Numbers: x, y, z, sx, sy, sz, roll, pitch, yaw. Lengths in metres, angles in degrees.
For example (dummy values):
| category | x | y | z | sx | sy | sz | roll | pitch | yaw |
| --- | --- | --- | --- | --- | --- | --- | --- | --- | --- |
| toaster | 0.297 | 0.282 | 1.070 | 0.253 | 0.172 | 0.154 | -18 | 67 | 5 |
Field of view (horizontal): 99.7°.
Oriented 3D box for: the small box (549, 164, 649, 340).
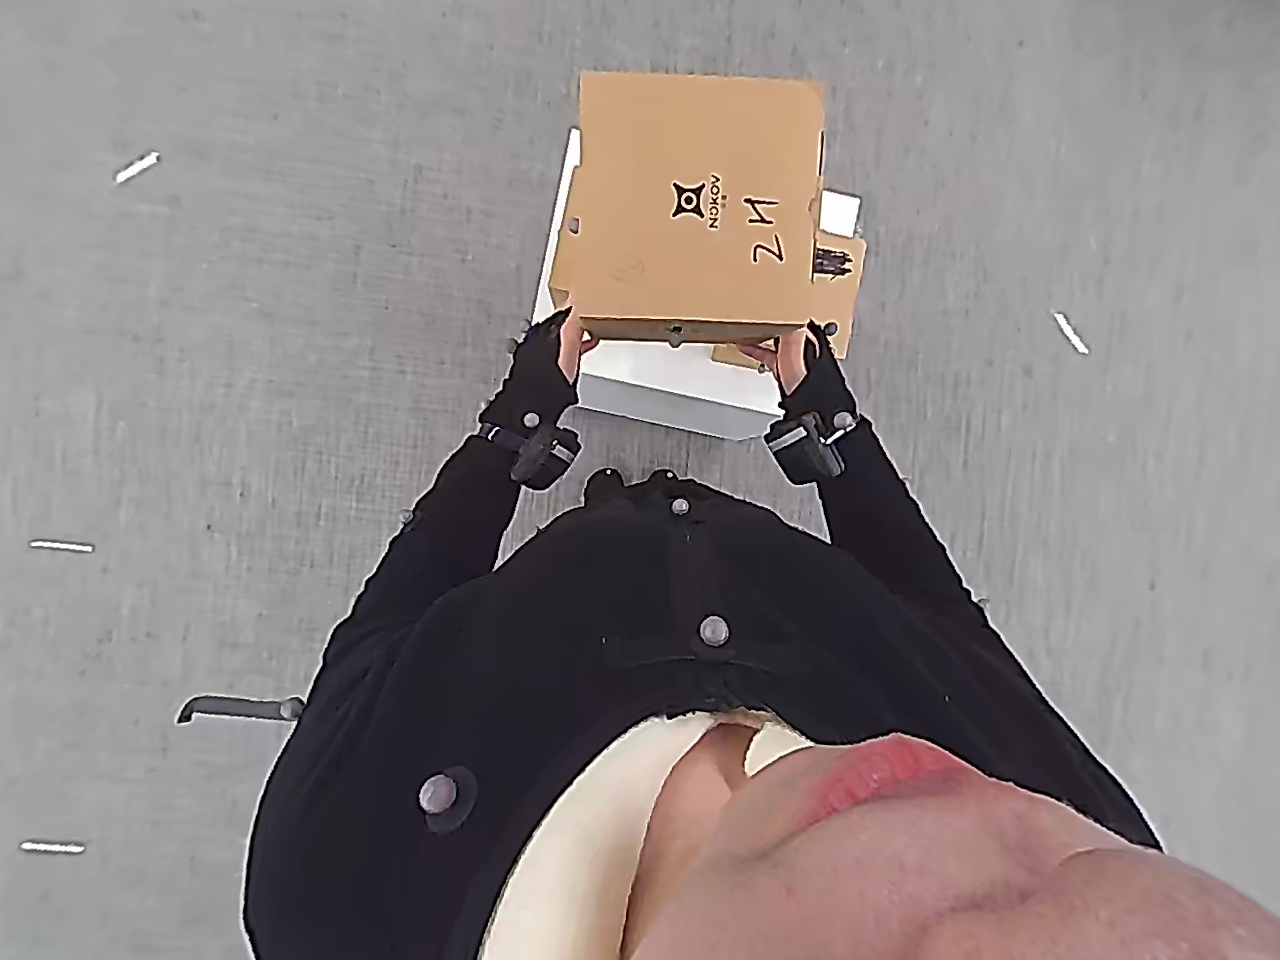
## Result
| category | x | y | z | sx | sy | sz | roll | pitch | yaw |
| --- | --- | --- | --- | --- | --- | --- | --- | --- | --- |
| small box | -0.034 | -0.334 | 0.824 | 0.168 | 0.176 | 0.179 | 13 | 89 | -3 |

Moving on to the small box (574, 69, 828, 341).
| category | x | y | z | sx | sy | sz | roll | pitch | yaw |
| --- | --- | --- | --- | --- | --- | --- | --- | --- | --- |
| small box | 0.040 | -0.212 | 0.466 | 0.179 | 0.176 | 0.168 | 2 | 100 | -2 |
